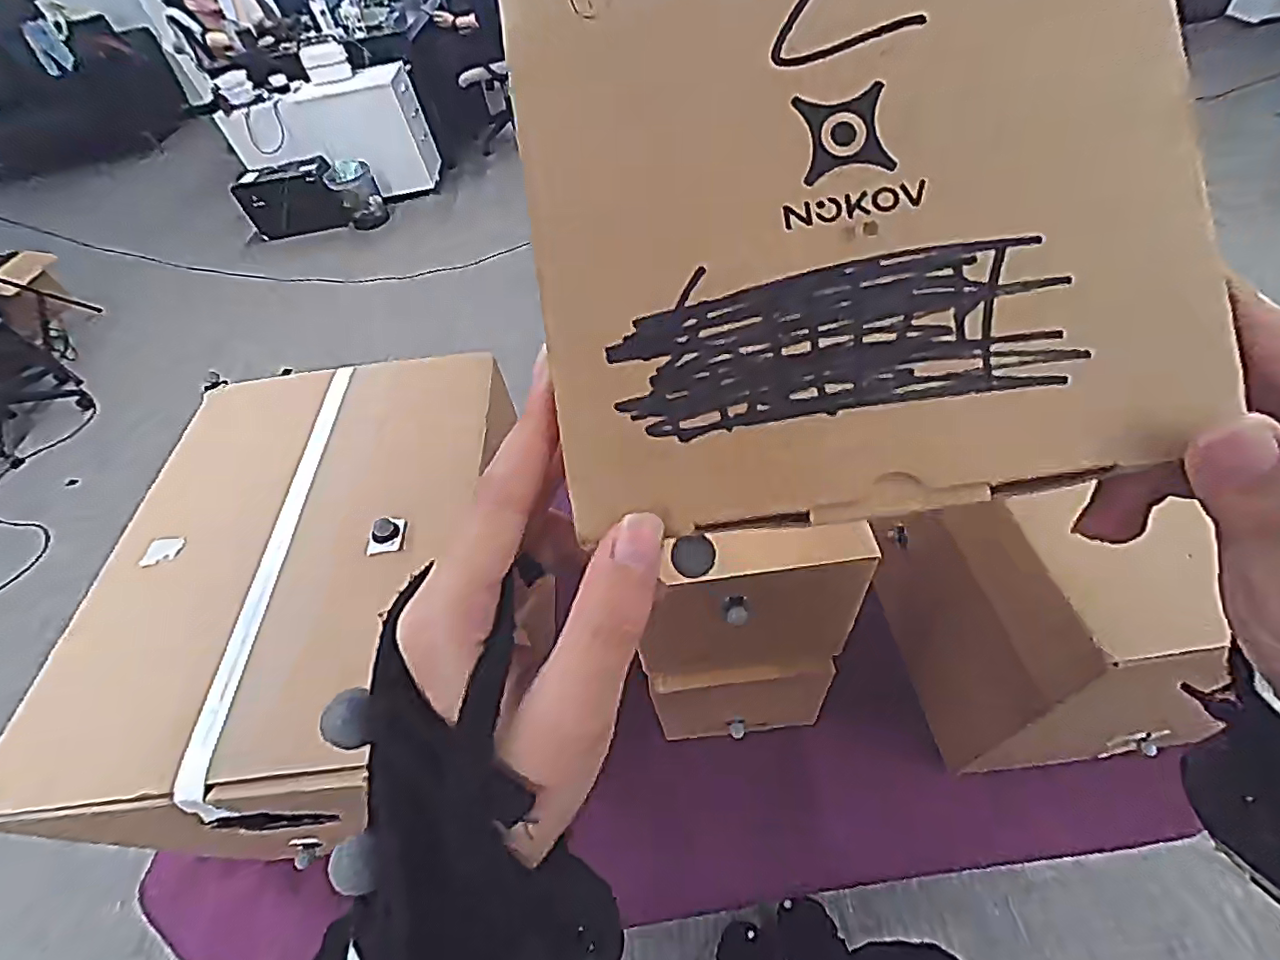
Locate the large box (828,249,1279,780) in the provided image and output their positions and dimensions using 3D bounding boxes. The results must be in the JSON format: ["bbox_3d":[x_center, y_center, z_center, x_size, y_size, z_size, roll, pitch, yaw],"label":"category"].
[{"bbox_3d":[0.419,0.032,0.547,0.320,0.320,0.408,-9,49,2],"label":"large box"}]
